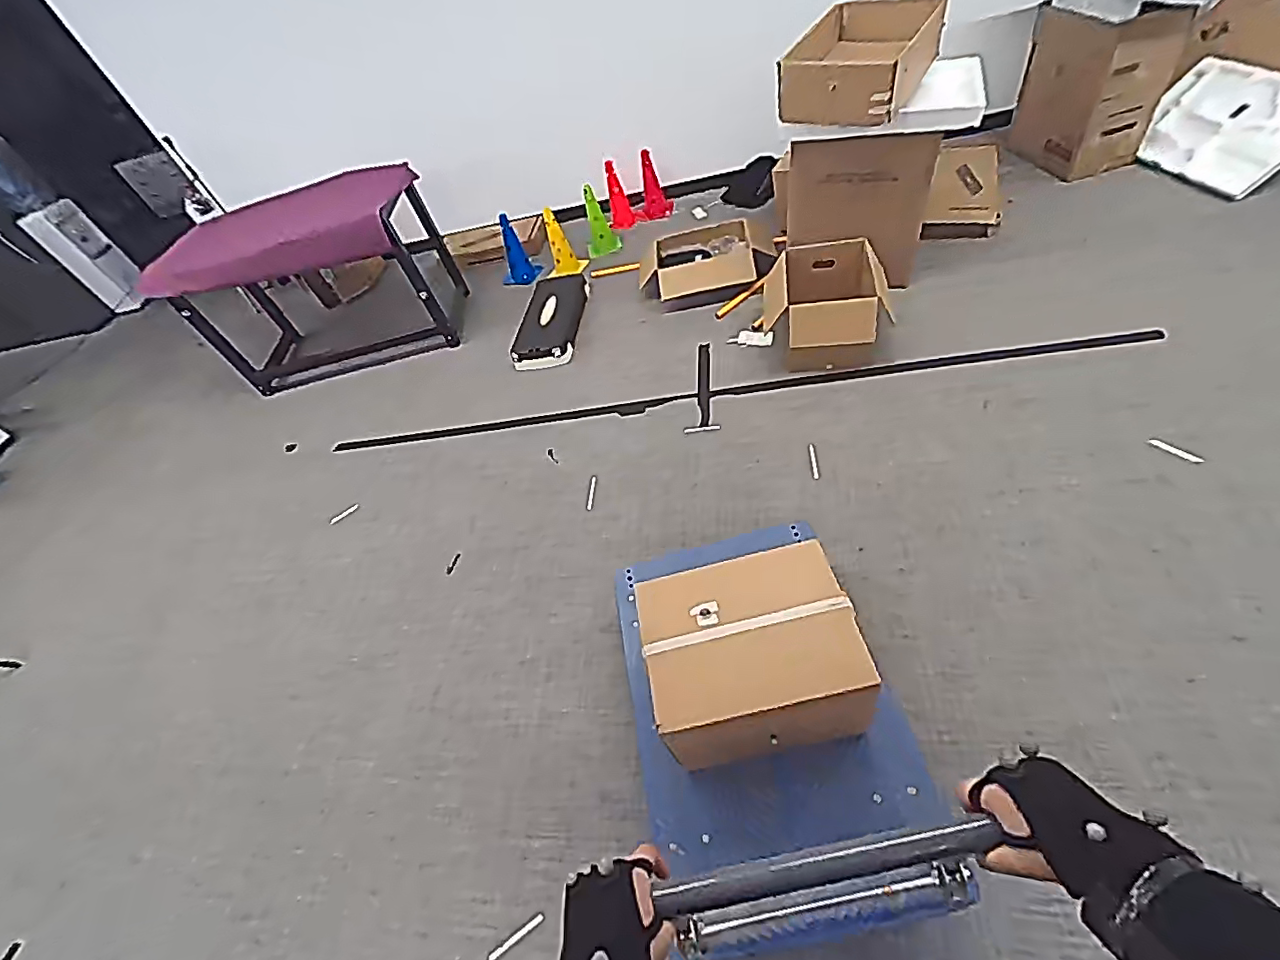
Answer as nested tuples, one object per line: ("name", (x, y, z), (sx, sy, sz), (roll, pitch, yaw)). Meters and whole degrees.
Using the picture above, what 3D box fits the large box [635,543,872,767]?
("large box", (0.237, 0.391, 1.183), (0.408, 0.320, 0.320), (-16, 48, 5))
